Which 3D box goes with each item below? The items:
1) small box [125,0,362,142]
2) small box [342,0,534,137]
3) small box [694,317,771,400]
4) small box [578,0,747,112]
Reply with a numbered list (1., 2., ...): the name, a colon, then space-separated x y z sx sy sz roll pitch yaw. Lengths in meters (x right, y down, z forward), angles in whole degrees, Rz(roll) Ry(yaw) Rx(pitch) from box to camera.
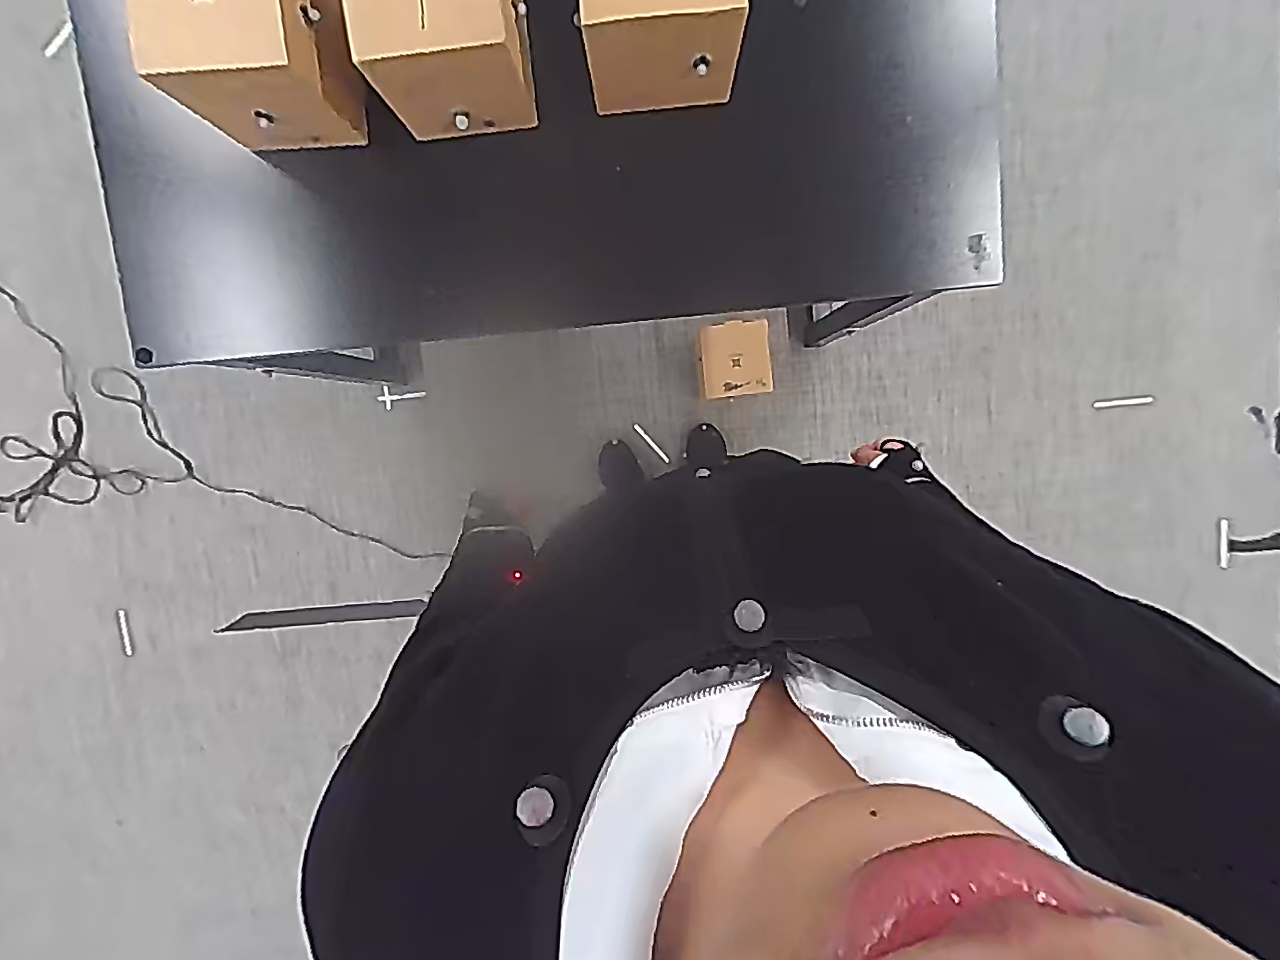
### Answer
1. small box: -0.452 -0.525 0.639 0.168 0.176 0.179 -3 96 0
2. small box: -0.228 -0.541 0.633 0.168 0.176 0.179 -6 97 2
3. small box: 0.232 -0.303 1.381 0.168 0.176 0.179 -6 96 3
4. small box: 0.019 -0.565 0.627 0.179 0.176 0.168 -5 95 3
